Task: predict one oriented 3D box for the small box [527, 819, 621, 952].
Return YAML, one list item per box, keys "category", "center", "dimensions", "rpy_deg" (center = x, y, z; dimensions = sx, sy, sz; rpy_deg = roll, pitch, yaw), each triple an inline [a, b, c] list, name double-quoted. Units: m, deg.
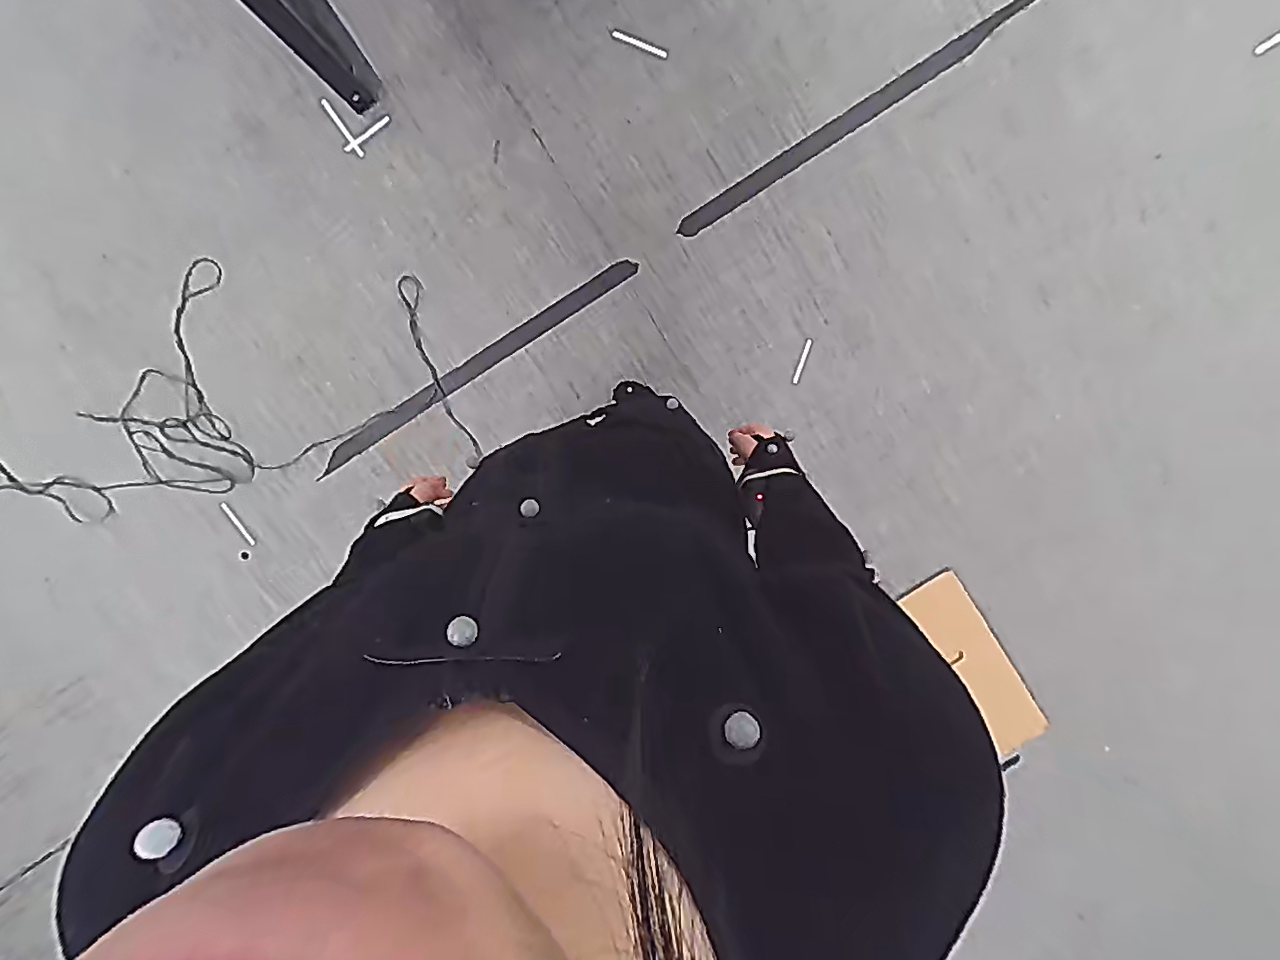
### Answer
- category: "small box"
  center: [-0.145, 0.932, 1.257]
  dimensions: [0.179, 0.176, 0.168]
  rpy_deg: [15, 98, -2]
